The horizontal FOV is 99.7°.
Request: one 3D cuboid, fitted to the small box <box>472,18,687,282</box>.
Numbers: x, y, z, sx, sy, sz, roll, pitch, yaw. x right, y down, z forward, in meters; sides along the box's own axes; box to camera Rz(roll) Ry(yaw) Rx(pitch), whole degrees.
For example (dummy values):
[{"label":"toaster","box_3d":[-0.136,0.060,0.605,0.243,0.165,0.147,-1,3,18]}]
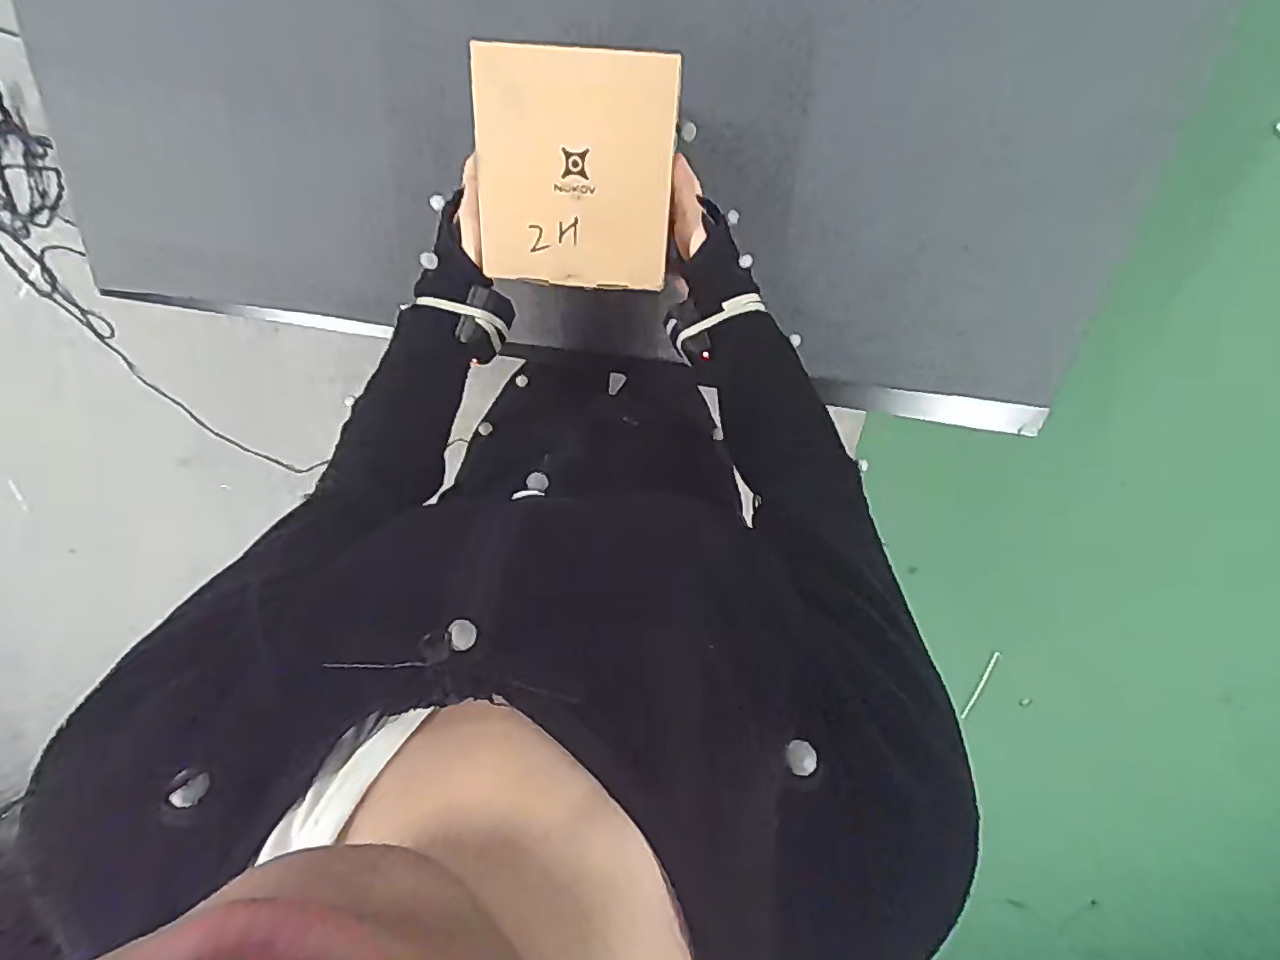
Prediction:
[{"label":"small box","box_3d":[-0.049,-0.292,0.511,0.168,0.176,0.179,5,115,1]}]
